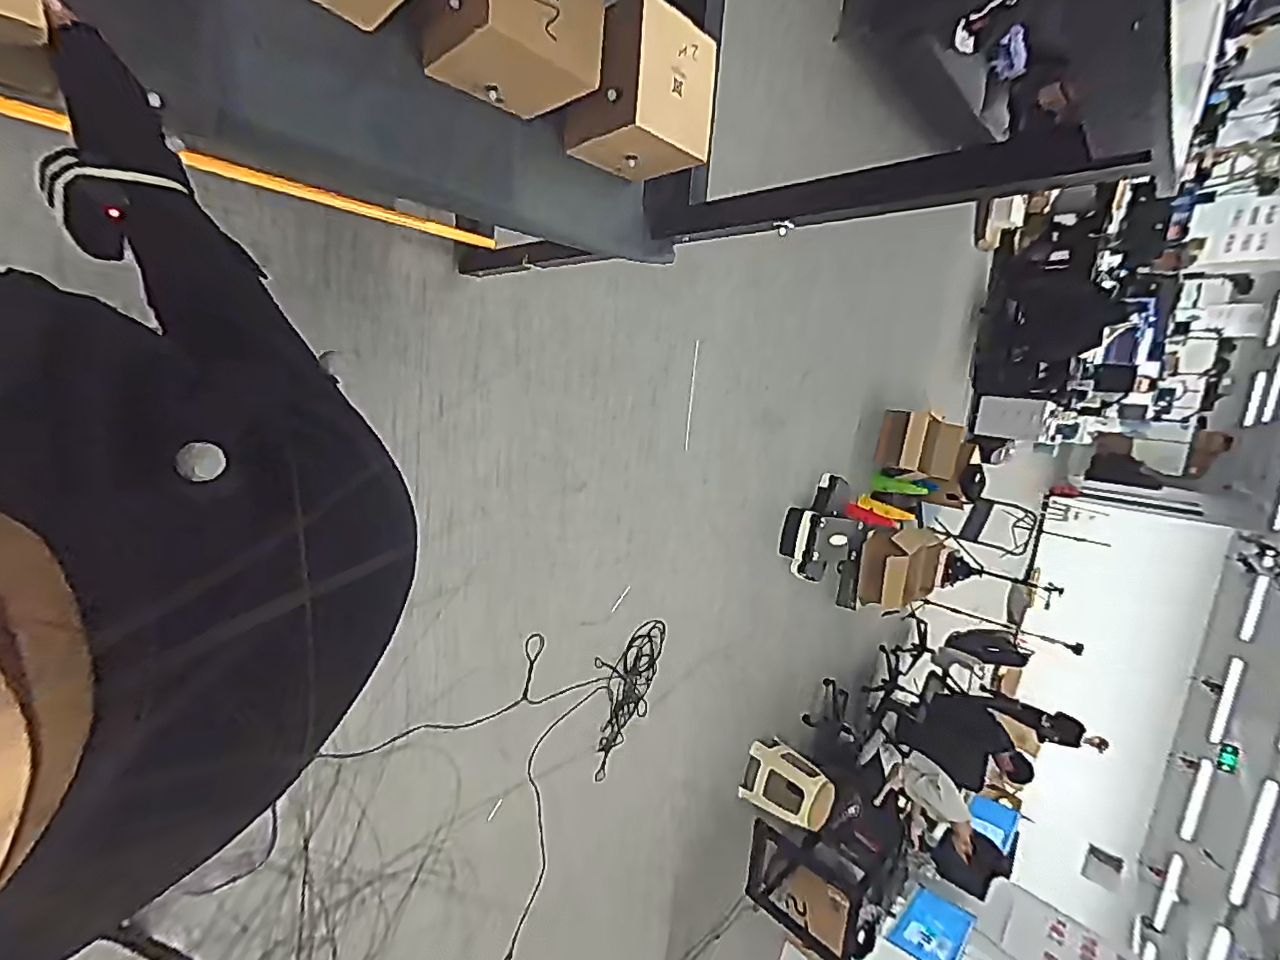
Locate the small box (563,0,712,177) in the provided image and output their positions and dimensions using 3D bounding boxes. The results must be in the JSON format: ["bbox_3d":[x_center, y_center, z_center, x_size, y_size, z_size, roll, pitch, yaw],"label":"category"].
[{"bbox_3d":[-0.008,-0.609,0.861,0.168,0.176,0.179,-7,106,-46],"label":"small box"}]

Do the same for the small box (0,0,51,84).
[{"bbox_3d":[-0.530,-0.414,0.363,0.168,0.176,0.179,-9,109,-45],"label":"small box"}]

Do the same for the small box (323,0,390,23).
[{"bbox_3d":[-0.318,-0.616,0.537,0.168,0.176,0.179,0,100,-47],"label":"small box"}]
